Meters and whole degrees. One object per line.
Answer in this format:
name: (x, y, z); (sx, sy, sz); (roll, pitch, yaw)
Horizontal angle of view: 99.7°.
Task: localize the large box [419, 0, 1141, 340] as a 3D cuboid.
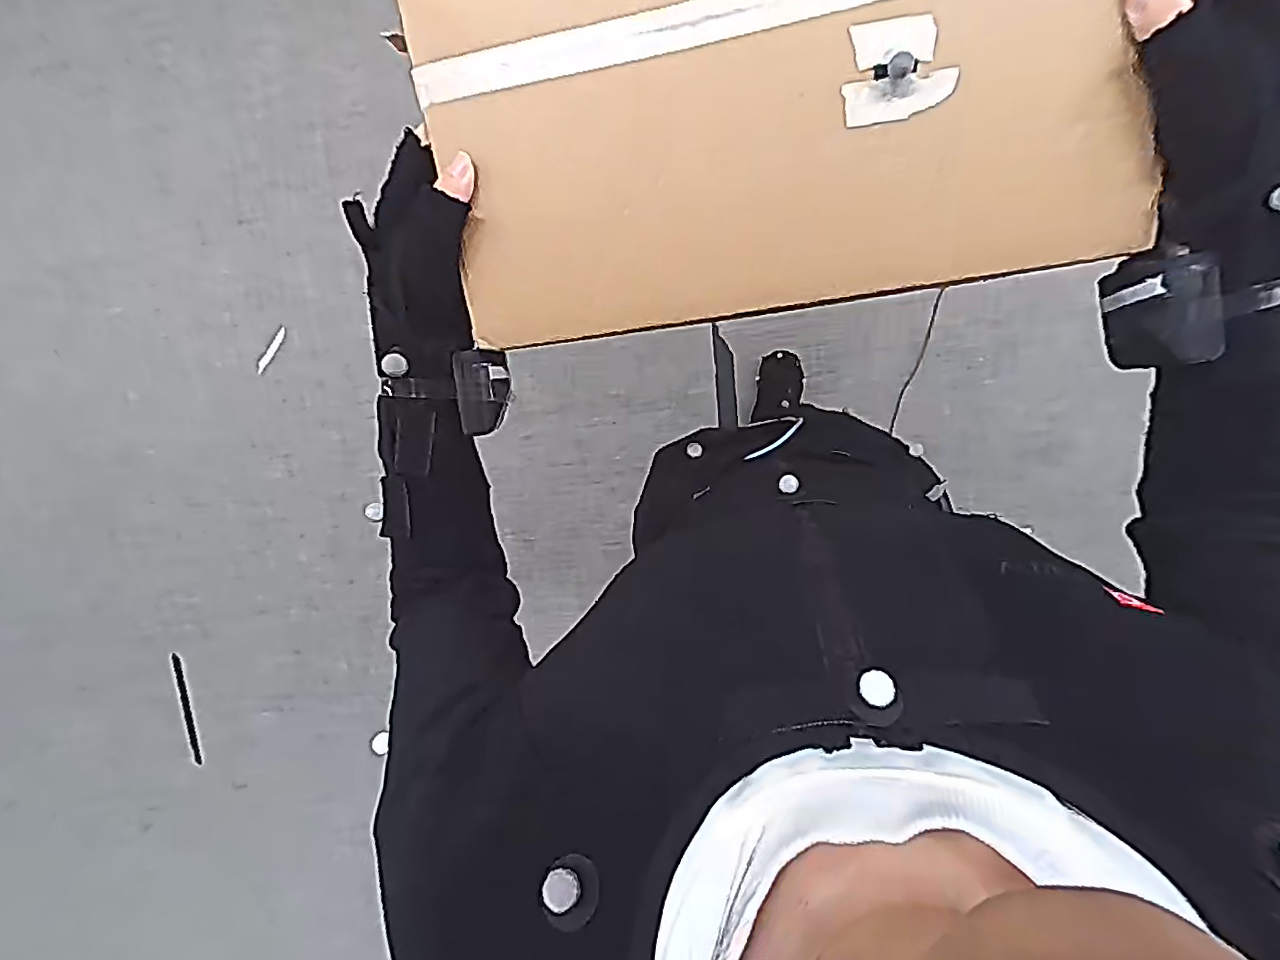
large box: (0.082, -0.308, 0.451); (0.408, 0.320, 0.320); (-7, 106, 8)
